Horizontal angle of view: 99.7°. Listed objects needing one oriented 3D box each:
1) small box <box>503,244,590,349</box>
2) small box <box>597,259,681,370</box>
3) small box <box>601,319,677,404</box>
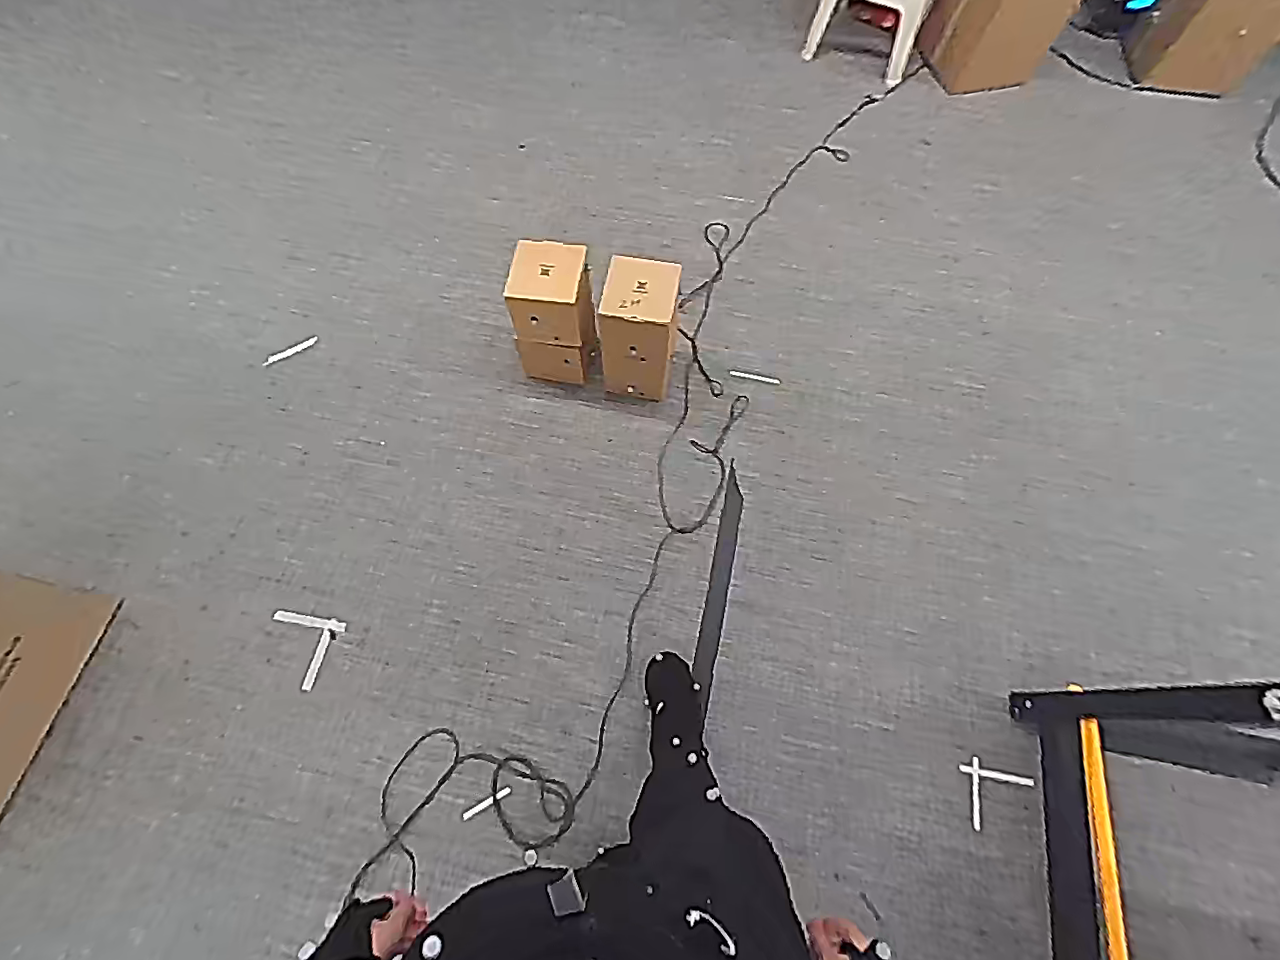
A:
[{"bbox_3d":[-0.219,-0.441,1.320,0.168,0.176,0.179,7,67,3],"label":"small box"},{"bbox_3d":[-0.001,-0.393,1.297,0.168,0.176,0.179,10,68,4],"label":"small box"},{"bbox_3d":[-0.003,-0.330,1.450,0.168,0.176,0.179,11,69,5],"label":"small box"}]
